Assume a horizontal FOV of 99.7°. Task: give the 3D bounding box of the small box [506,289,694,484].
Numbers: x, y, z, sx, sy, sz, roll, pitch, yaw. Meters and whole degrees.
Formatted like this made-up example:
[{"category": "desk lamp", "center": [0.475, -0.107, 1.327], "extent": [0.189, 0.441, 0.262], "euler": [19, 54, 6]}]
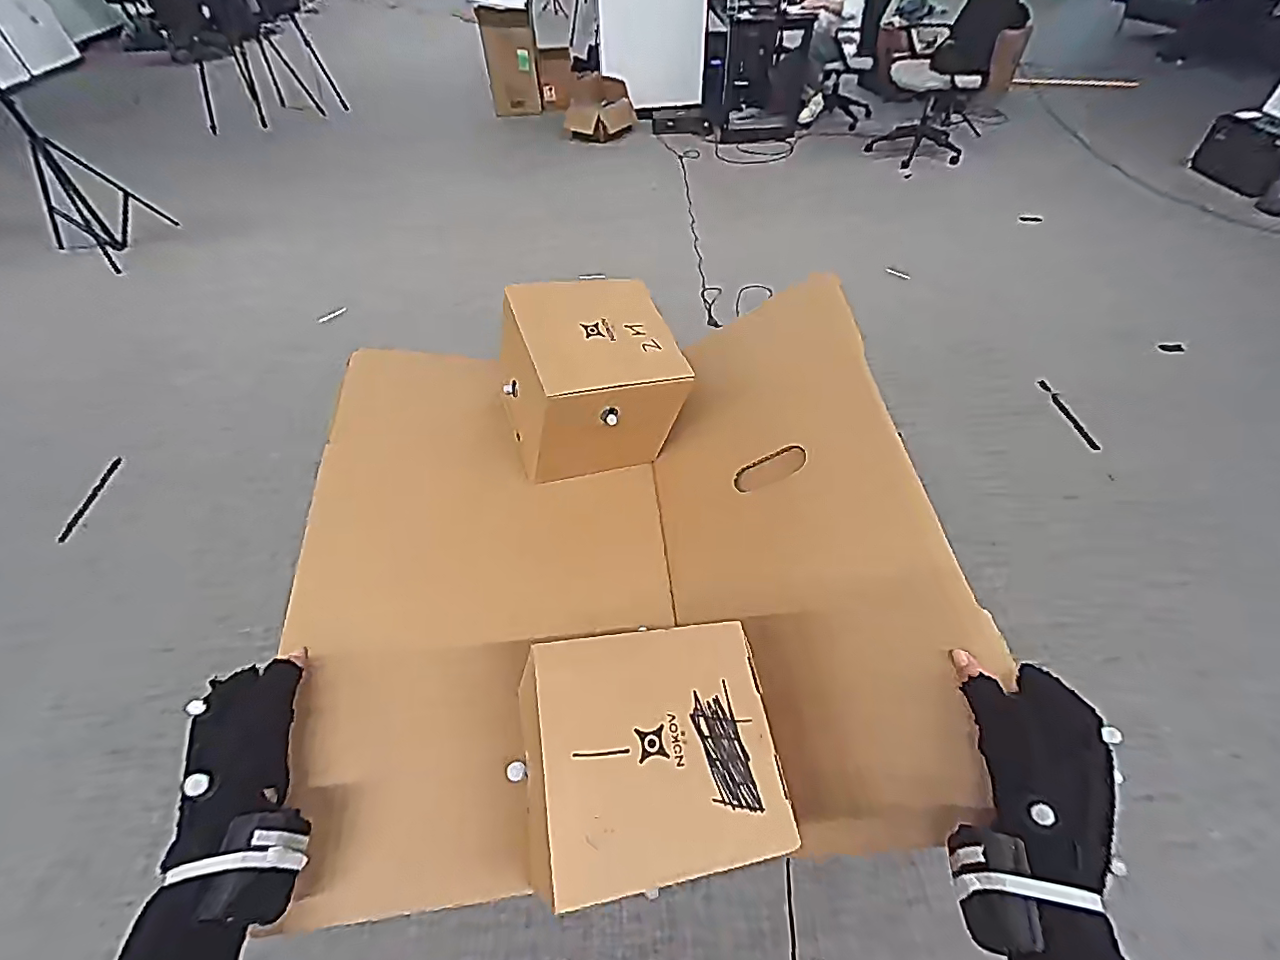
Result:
[{"category": "small box", "center": [-0.063, -0.112, 0.669], "extent": [0.179, 0.176, 0.168], "euler": [-11, 62, -24]}]
